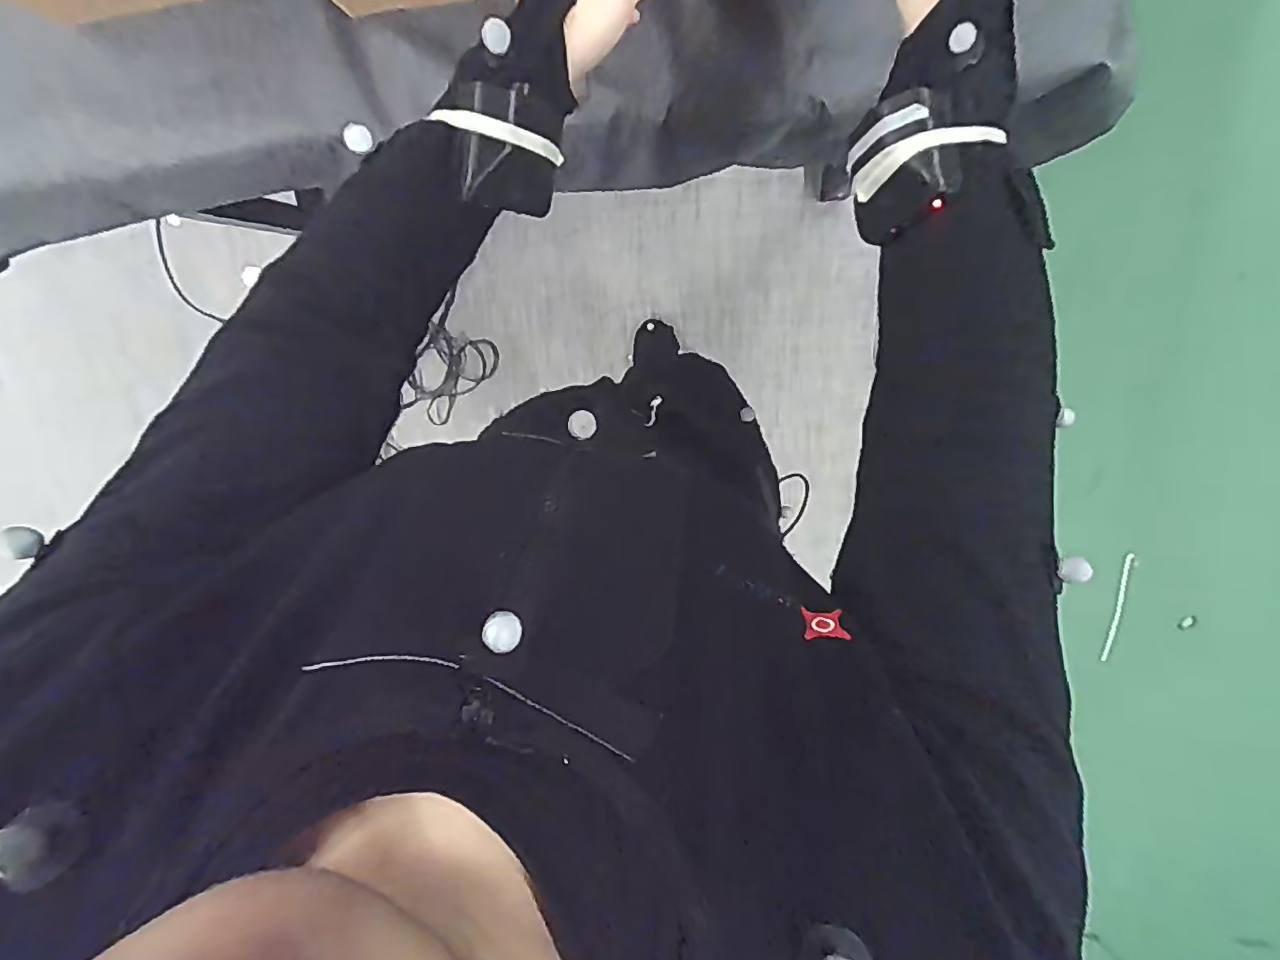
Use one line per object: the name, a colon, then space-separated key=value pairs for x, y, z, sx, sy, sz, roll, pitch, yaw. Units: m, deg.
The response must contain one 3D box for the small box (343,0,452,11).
small box: x=-0.192 y=-0.481 z=0.386 sx=0.179 sy=0.176 sz=0.168 roll=-4 pitch=107 yaw=5
